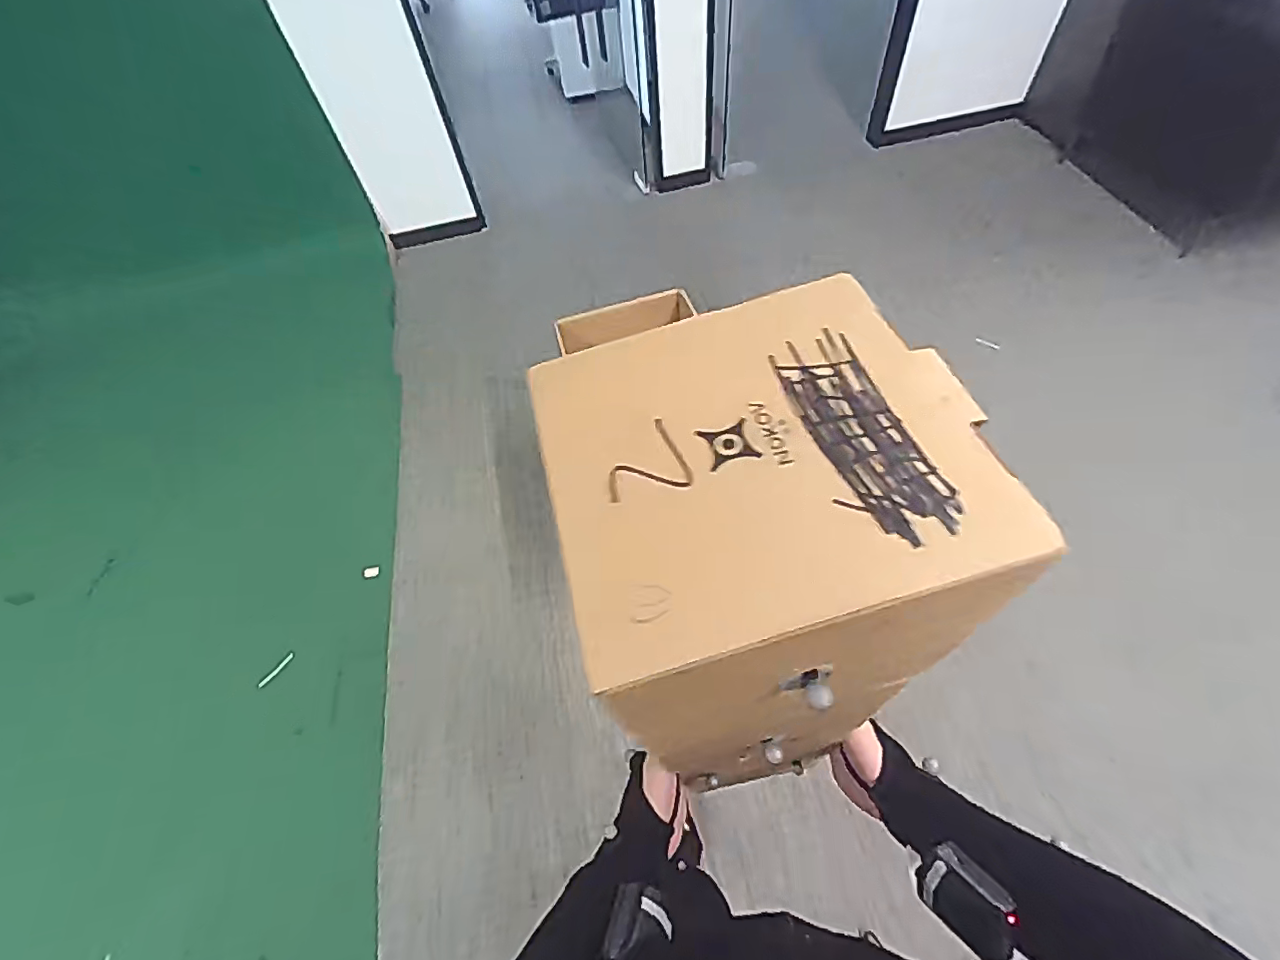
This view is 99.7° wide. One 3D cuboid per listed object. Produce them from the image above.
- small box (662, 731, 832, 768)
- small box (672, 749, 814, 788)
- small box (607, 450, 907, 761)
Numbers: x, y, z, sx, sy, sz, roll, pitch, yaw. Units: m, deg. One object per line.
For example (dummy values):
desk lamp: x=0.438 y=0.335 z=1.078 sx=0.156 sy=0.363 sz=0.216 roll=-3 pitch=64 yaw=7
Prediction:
small box: x=0.100 y=0.194 z=0.572 sx=0.168 sy=0.176 sz=0.179 roll=-11 pitch=54 yaw=1
small box: x=0.122 y=0.288 z=0.704 sx=0.179 sy=0.176 sz=0.168 roll=-13 pitch=55 yaw=0
small box: x=0.077 y=0.107 z=0.435 sx=0.168 sy=0.176 sz=0.179 roll=-13 pitch=56 yaw=1
